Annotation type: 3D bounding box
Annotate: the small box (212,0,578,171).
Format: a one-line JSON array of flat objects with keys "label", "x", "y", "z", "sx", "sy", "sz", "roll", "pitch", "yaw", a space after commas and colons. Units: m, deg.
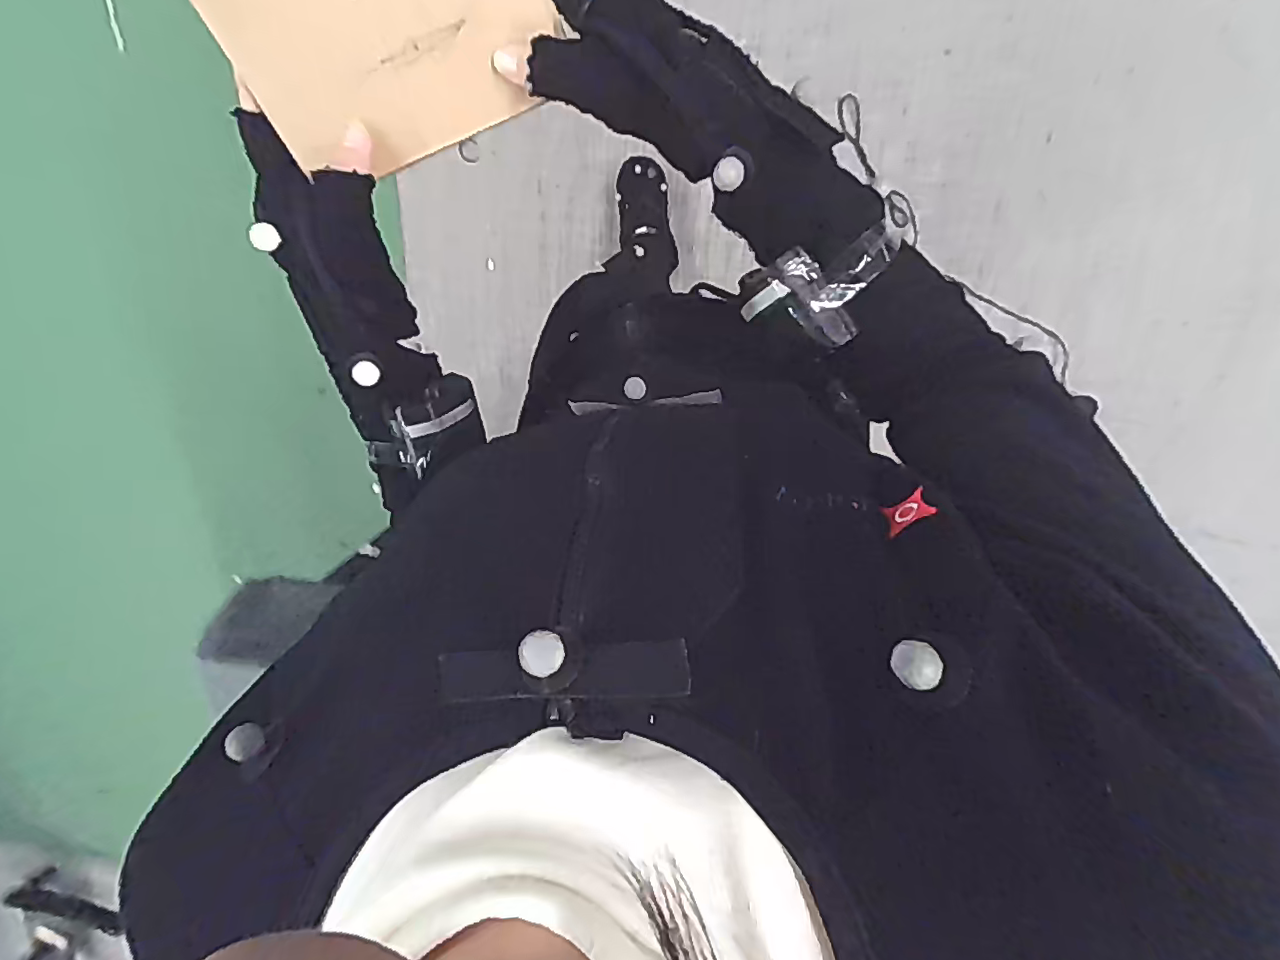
[{"label": "small box", "x": -0.148, "y": -0.316, "z": 0.322, "sx": 0.168, "sy": 0.176, "sz": 0.179, "roll": -19, "pitch": 128, "yaw": 7}]
